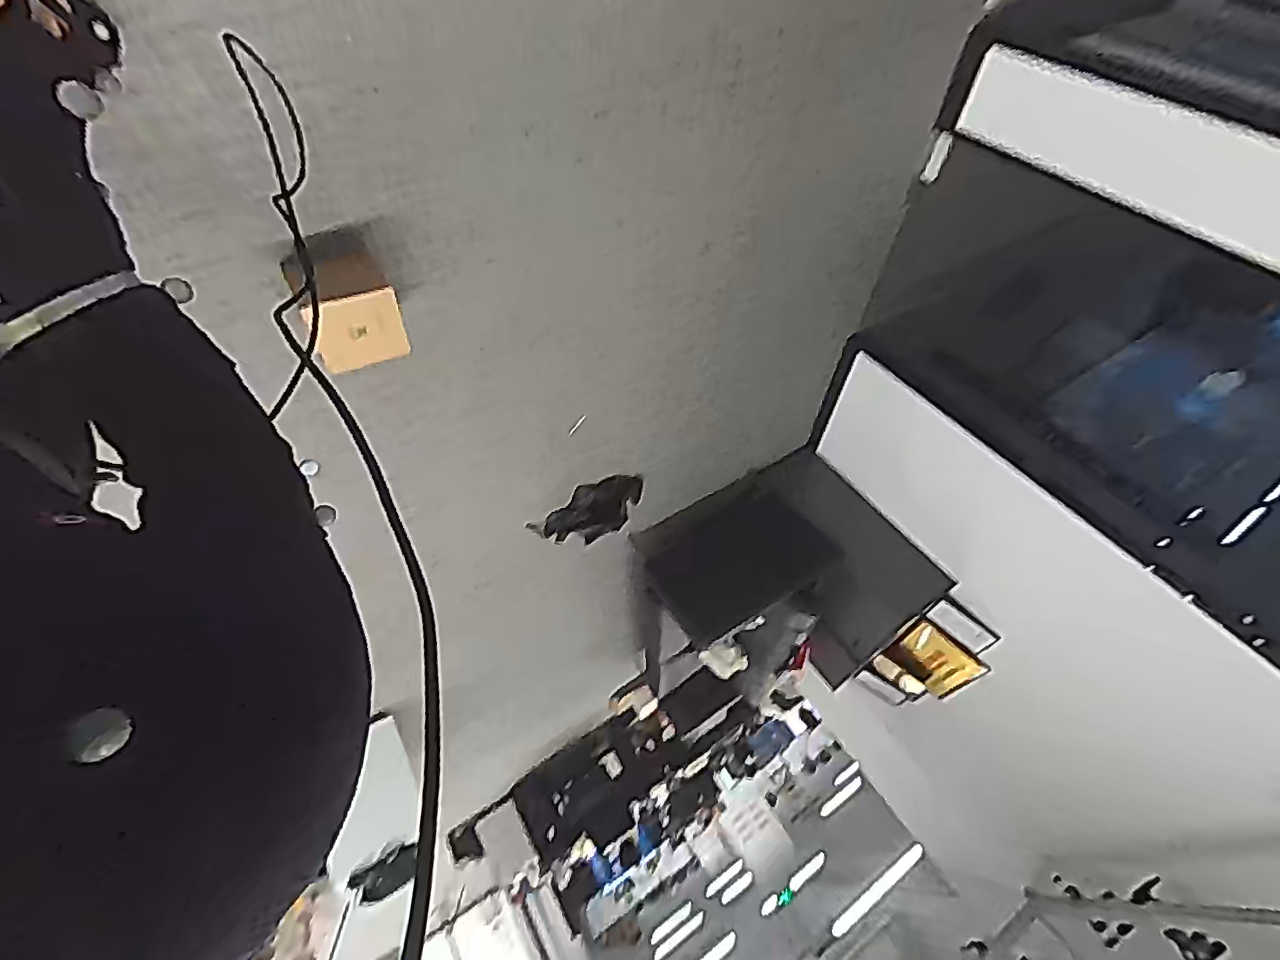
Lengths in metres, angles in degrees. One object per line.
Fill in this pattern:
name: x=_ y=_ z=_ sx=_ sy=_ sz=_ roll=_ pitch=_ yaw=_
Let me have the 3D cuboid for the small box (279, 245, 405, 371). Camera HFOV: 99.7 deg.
small box: x=-0.625 y=-0.363 z=1.133 sx=0.179 sy=0.176 sz=0.168 roll=-26 pitch=150 yaw=-24
